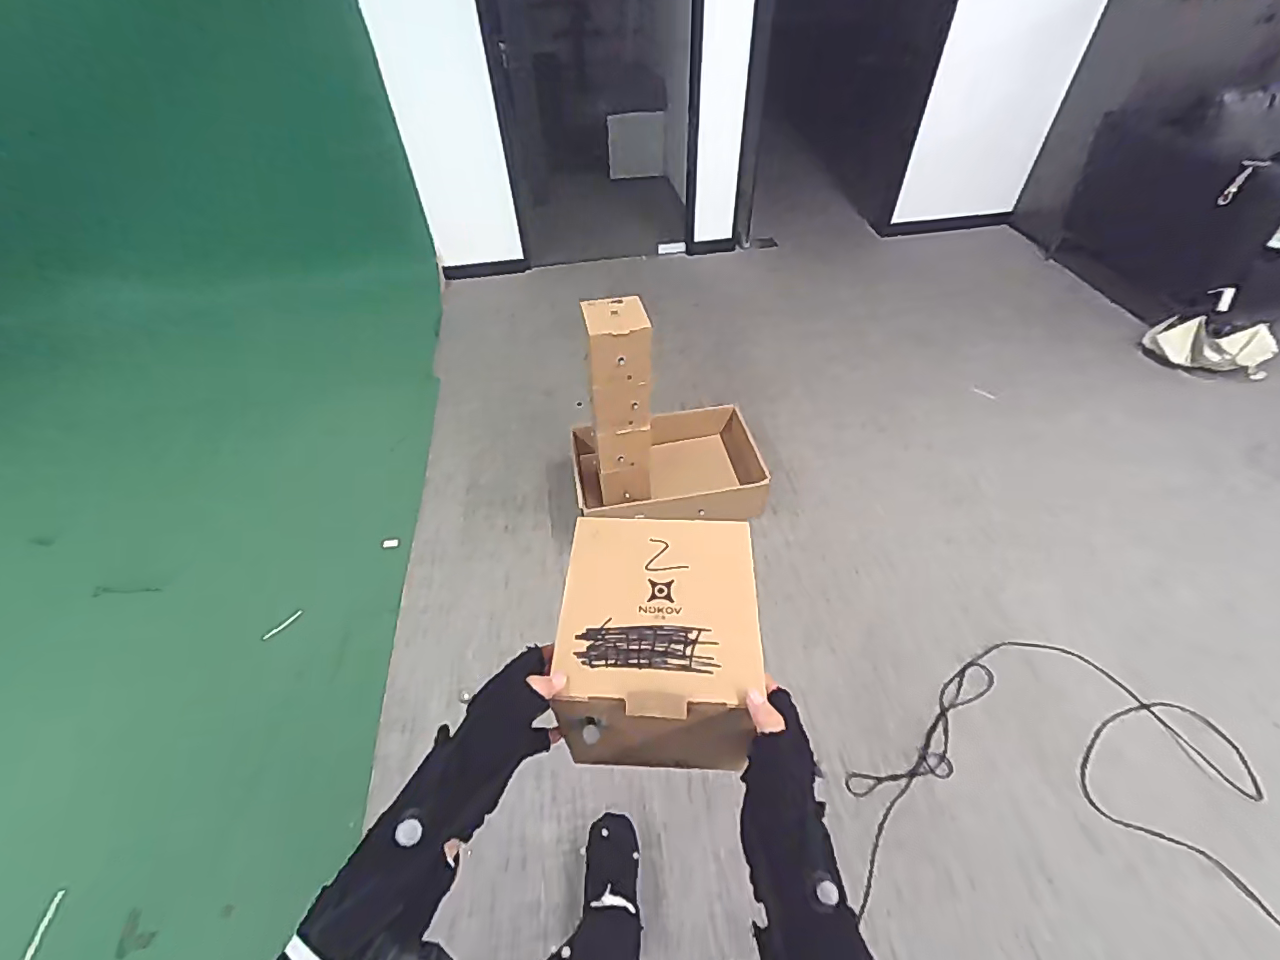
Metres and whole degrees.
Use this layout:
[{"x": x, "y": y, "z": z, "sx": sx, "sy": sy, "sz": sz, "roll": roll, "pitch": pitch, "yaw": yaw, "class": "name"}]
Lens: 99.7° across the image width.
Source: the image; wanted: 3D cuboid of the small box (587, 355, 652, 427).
[{"x": -0.060, "y": -0.271, "z": 1.597, "sx": 0.168, "sy": 0.176, "sz": 0.179, "roll": -8, "pitch": 47, "yaw": -8, "class": "small box"}]

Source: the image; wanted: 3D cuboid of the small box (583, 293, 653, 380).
[{"x": -0.061, "y": -0.386, "z": 1.480, "sx": 0.168, "sy": 0.176, "sz": 0.179, "roll": -8, "pitch": 48, "yaw": -8, "class": "small box"}]

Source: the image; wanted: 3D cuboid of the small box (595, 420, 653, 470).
[{"x": -0.055, "y": -0.155, "z": 1.712, "sx": 0.168, "sy": 0.176, "sz": 0.179, "roll": -8, "pitch": 47, "yaw": -6, "class": "small box"}]

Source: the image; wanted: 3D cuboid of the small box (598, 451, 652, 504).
[{"x": -0.053, "y": -0.043, "z": 1.830, "sx": 0.168, "sy": 0.176, "sz": 0.179, "roll": -7, "pitch": 47, "yaw": -5, "class": "small box"}]
